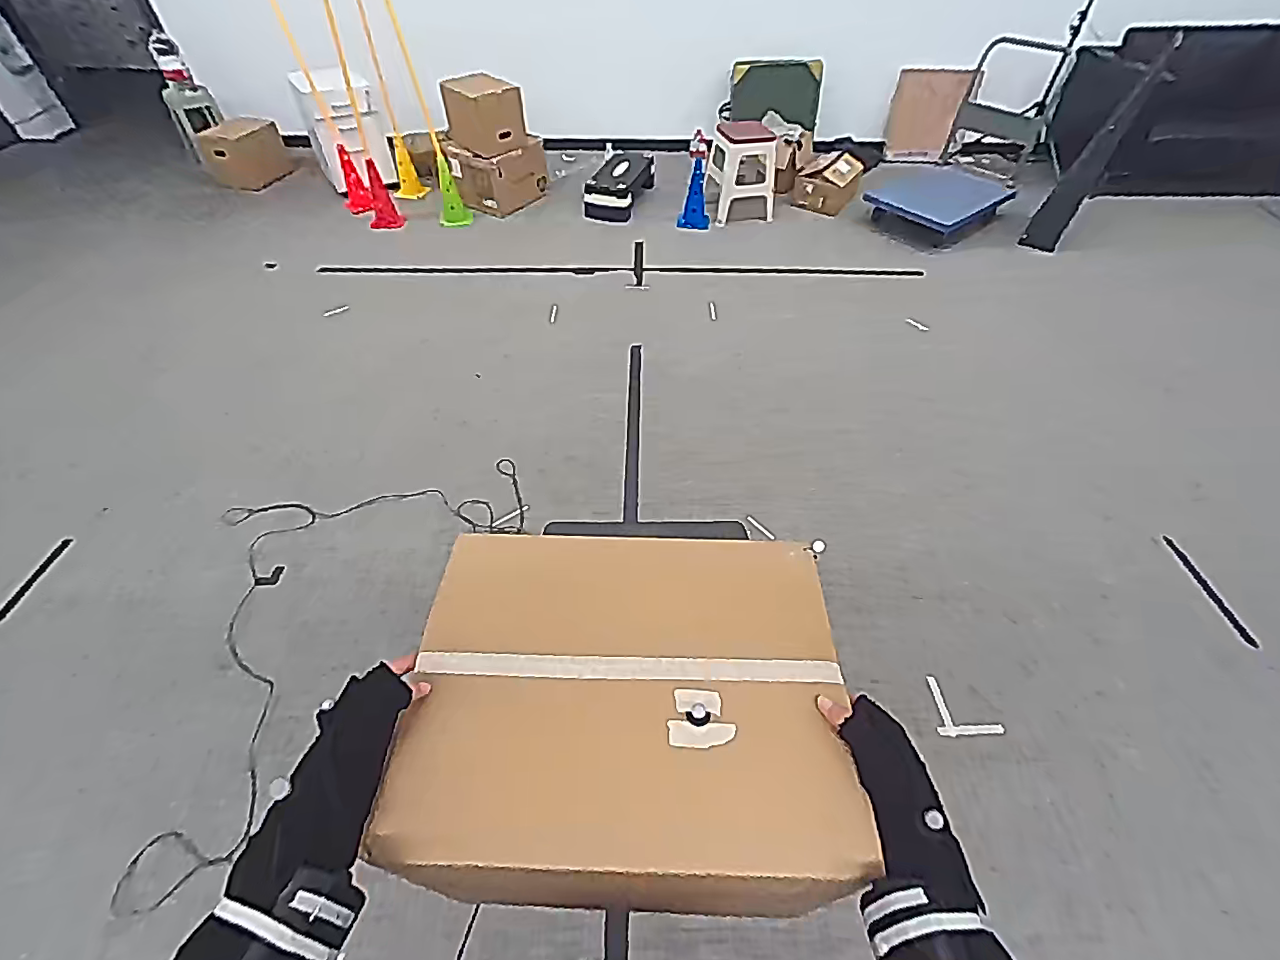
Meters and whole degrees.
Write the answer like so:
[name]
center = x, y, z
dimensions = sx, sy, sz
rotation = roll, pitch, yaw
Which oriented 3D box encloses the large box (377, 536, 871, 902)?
[large box]
center = -0.012, 0.282, 0.636
dimensions = 0.408, 0.320, 0.320
rotation = 2, 47, 1
